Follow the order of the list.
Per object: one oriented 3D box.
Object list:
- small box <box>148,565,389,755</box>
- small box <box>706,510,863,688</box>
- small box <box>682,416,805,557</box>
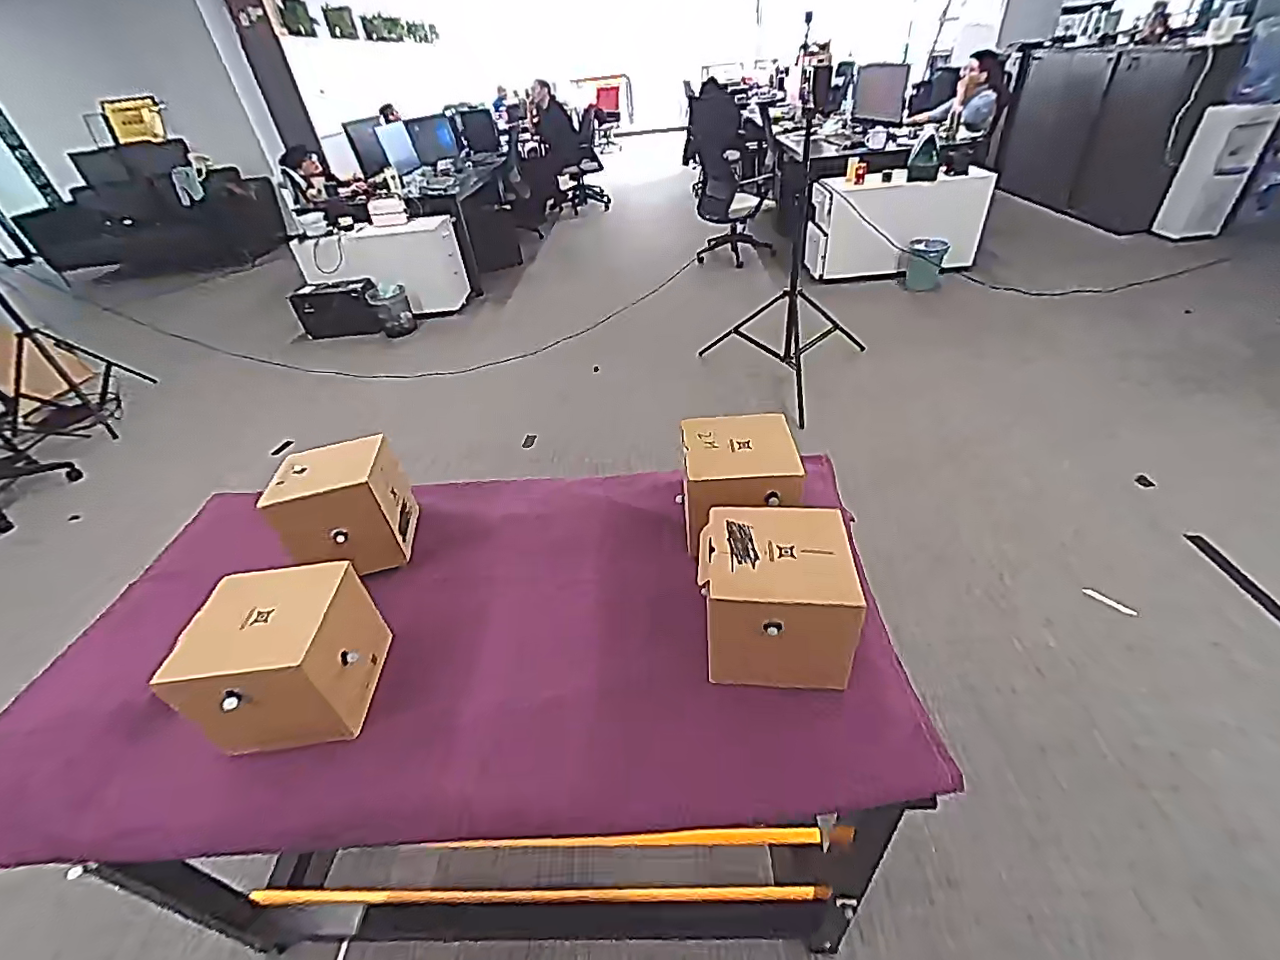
[{"bbox_3d":[-0.462,0.237,0.713,0.179,0.176,0.168,-7,37,-1],"label":"small box"},{"bbox_3d":[0.179,0.156,0.716,0.179,0.176,0.168,0,37,8],"label":"small box"},{"bbox_3d":[0.162,0.012,0.902,0.179,0.176,0.168,-4,39,4],"label":"small box"}]
